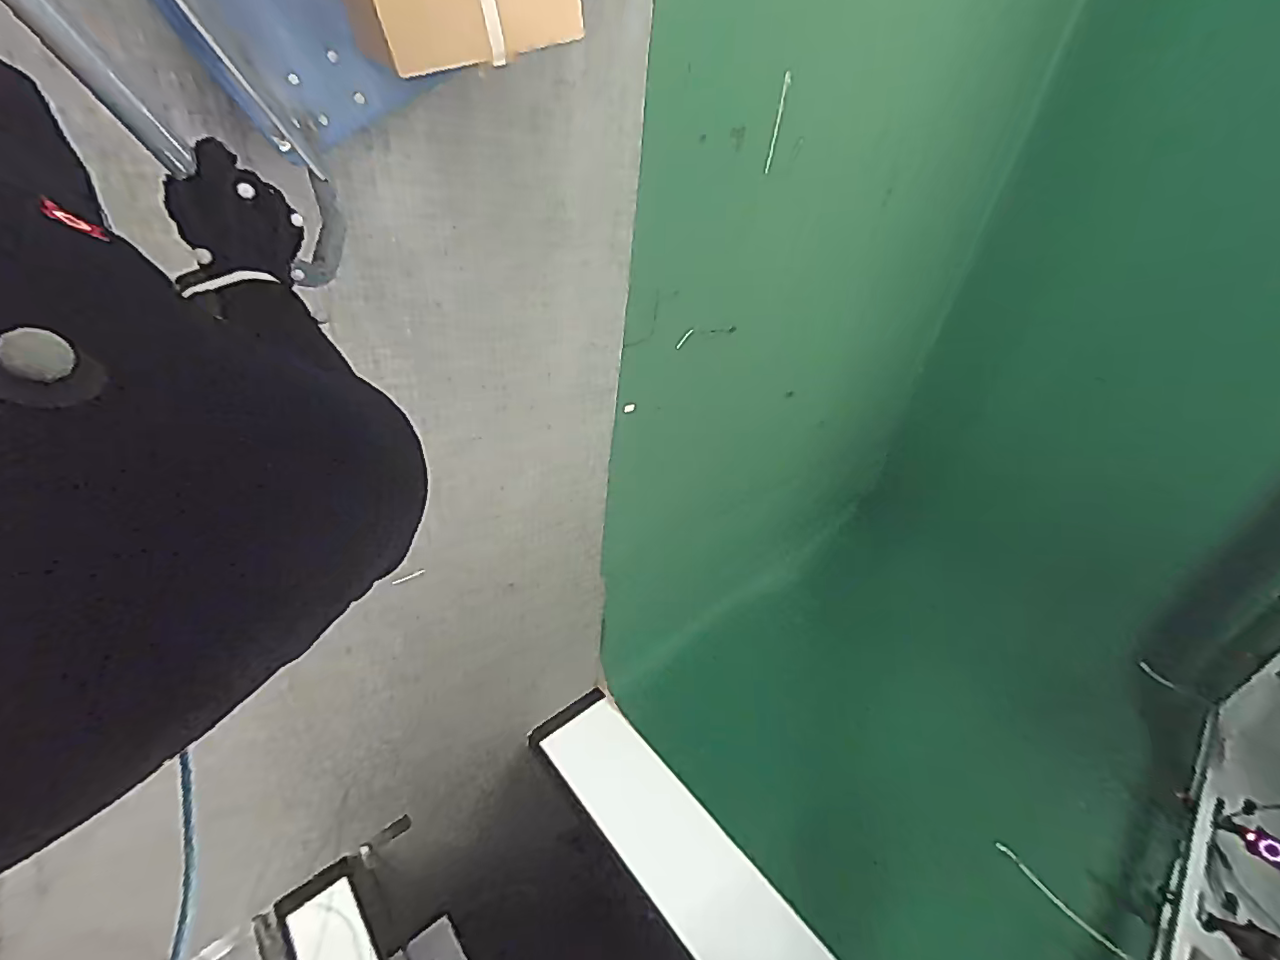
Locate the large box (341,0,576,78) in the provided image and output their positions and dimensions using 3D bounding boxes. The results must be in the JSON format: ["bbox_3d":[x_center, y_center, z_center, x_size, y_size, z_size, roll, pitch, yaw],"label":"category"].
[{"bbox_3d":[-0.327,-0.883,0.795,0.320,0.320,0.408,-26,139,-17],"label":"large box"}]
